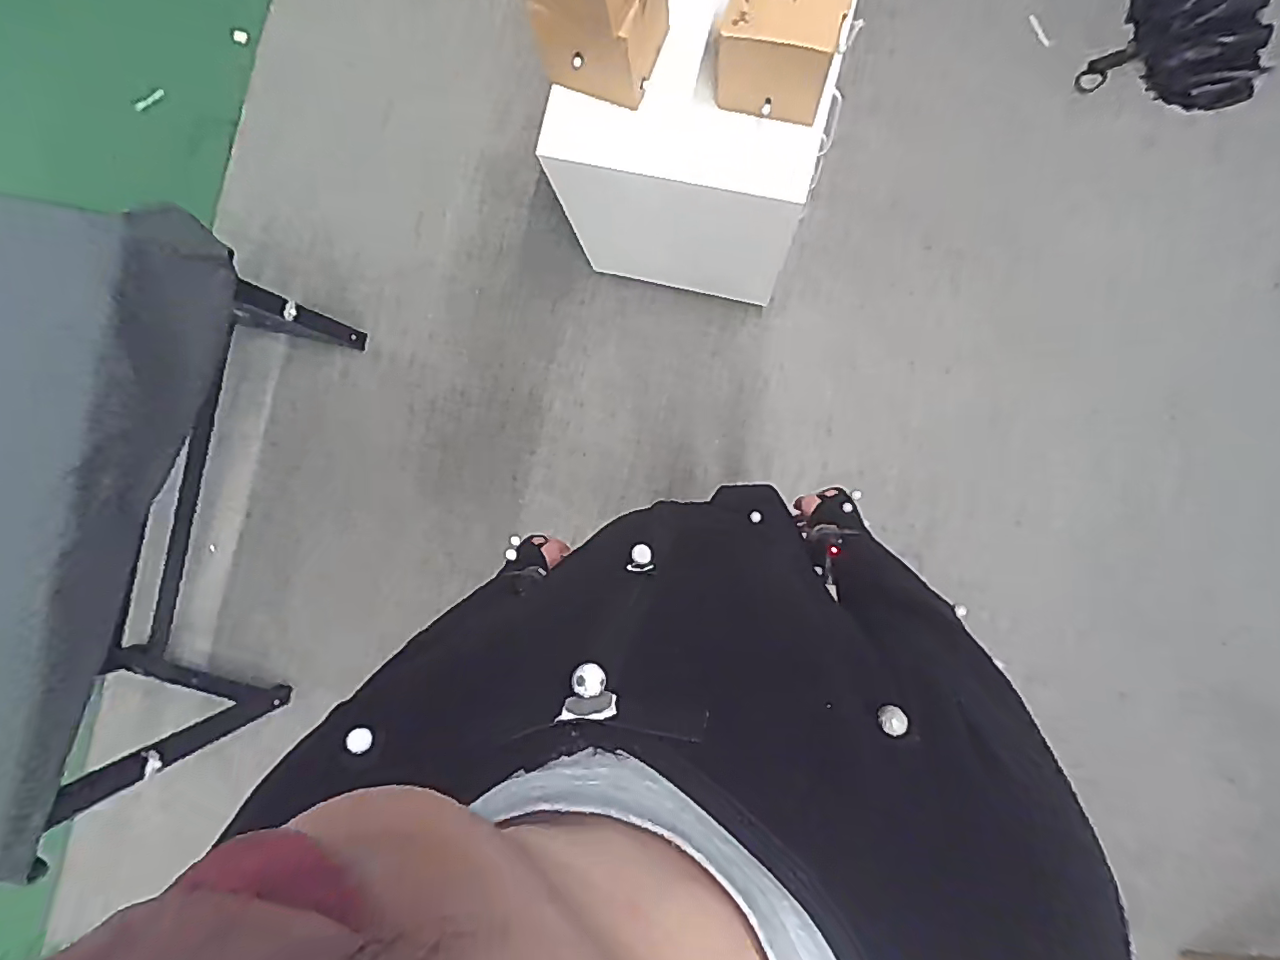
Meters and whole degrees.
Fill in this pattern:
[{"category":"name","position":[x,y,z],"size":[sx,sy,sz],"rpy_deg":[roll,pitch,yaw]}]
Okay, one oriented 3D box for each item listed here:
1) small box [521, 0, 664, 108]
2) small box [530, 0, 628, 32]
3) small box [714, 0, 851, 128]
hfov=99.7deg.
[{"category":"small box","position":[-0.067,-0.770,0.903],"size":[0.179,0.176,0.168],"rpy_deg":[22,90,5]},{"category":"small box","position":[-0.085,-0.777,0.742],"size":[0.179,0.176,0.168],"rpy_deg":[29,89,5]},{"category":"small box","position":[0.227,-0.712,0.877],"size":[0.179,0.176,0.168],"rpy_deg":[15,90,5]}]
